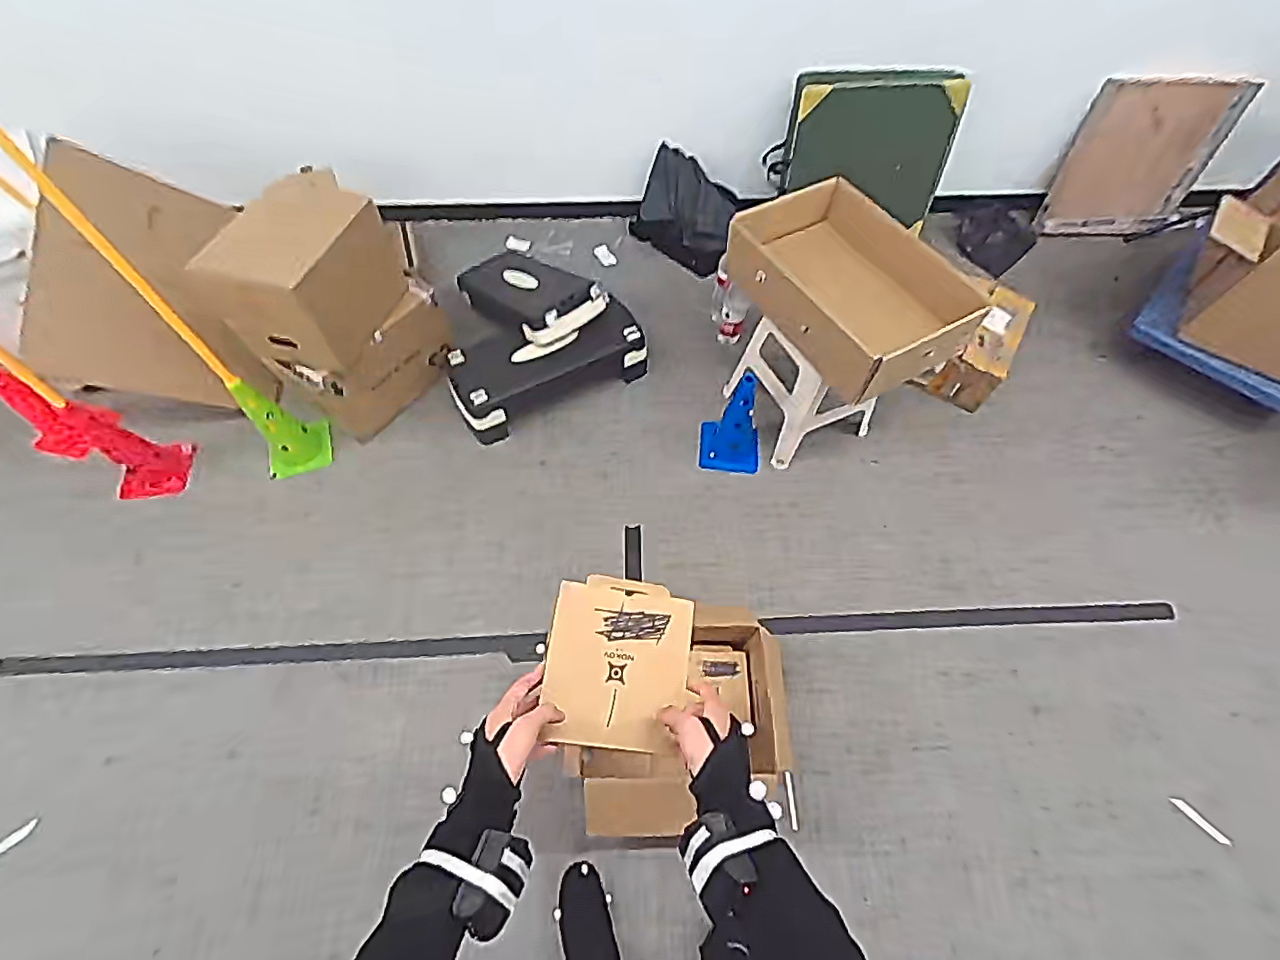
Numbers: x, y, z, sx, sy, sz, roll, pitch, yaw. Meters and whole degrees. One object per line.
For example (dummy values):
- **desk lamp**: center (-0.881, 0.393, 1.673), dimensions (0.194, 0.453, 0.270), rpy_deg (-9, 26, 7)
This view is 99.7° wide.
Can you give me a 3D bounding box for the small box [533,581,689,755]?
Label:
- **small box**: center (-0.042, 0.249, 0.704), dimensions (0.168, 0.176, 0.179), rpy_deg (11, 64, -7)
